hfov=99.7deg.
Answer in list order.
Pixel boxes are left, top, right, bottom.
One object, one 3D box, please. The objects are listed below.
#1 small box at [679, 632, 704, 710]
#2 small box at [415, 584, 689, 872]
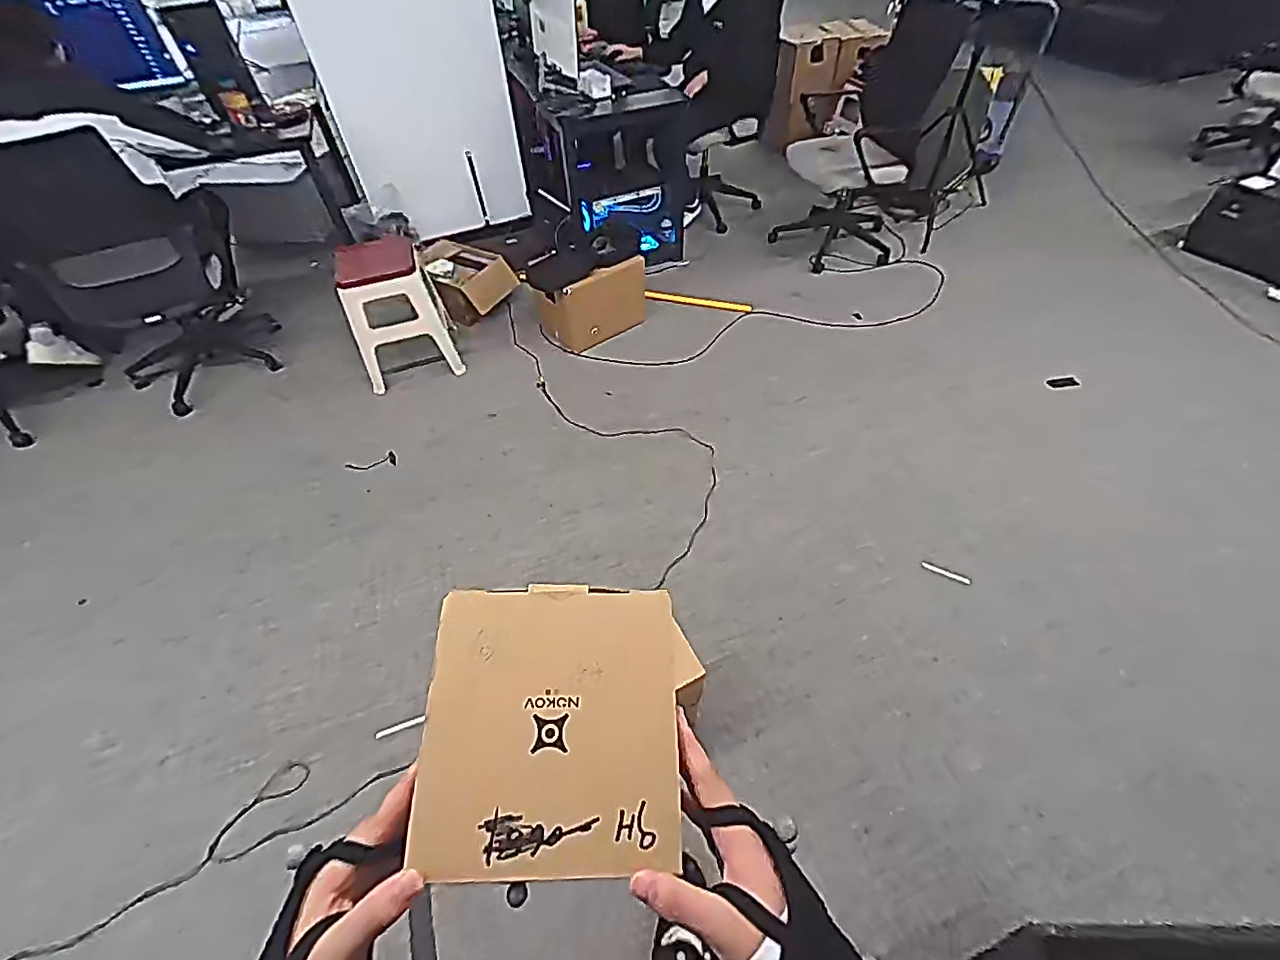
[{"bbox_3d":[0.029,0.446,1.236,0.179,0.176,0.168,-22,53,-17],"label":"small box"},{"bbox_3d":[-0.057,0.193,0.429,0.168,0.176,0.179,0,61,-3],"label":"small box"}]
